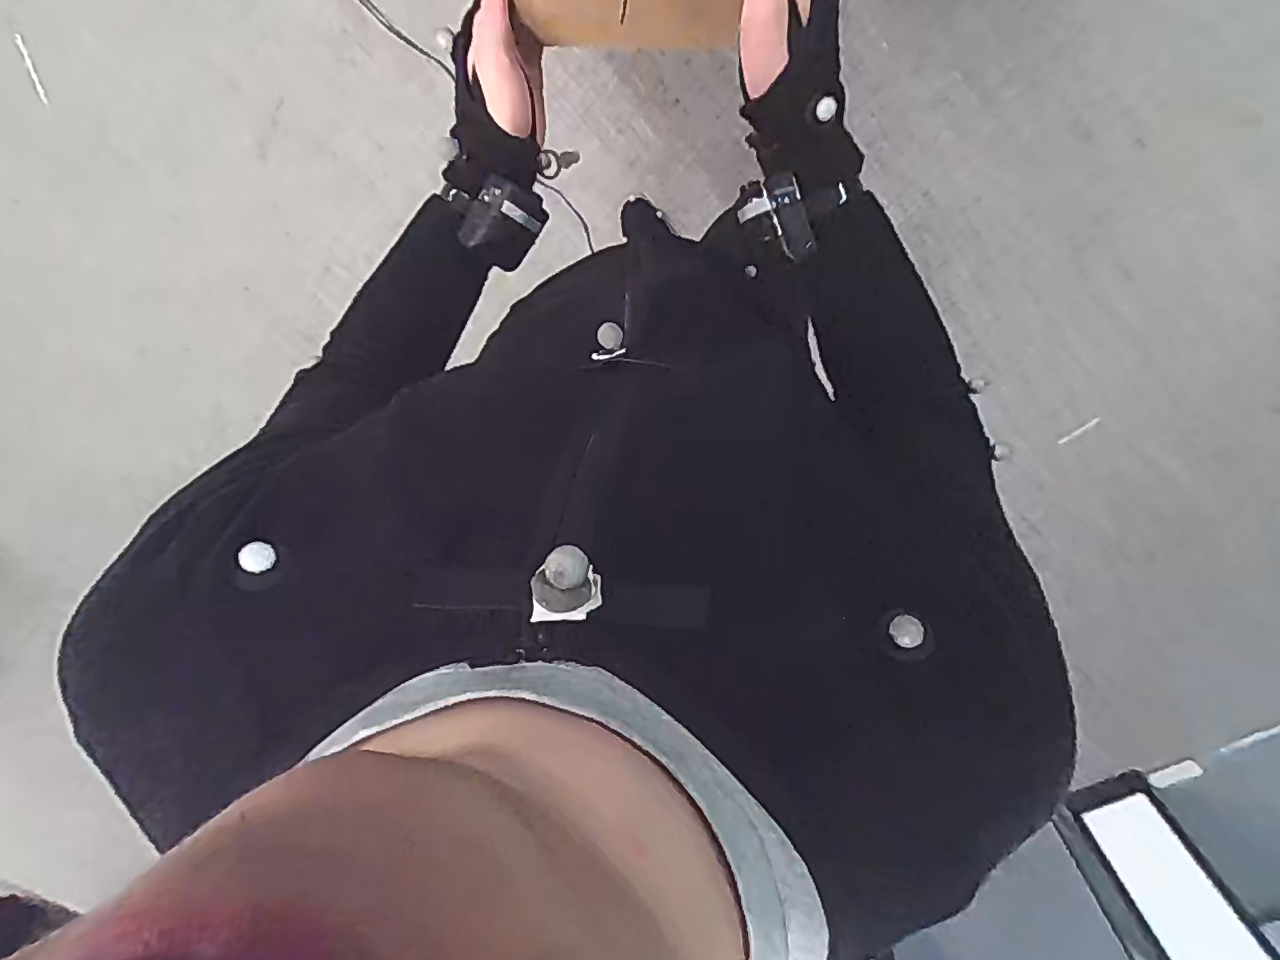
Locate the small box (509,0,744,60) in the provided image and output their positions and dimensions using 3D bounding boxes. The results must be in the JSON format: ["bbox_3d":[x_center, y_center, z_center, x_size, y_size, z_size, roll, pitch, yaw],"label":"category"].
[{"bbox_3d":[-0.011,-0.416,0.340,0.168,0.179,0.176,-2,83,-2],"label":"small box"}]
